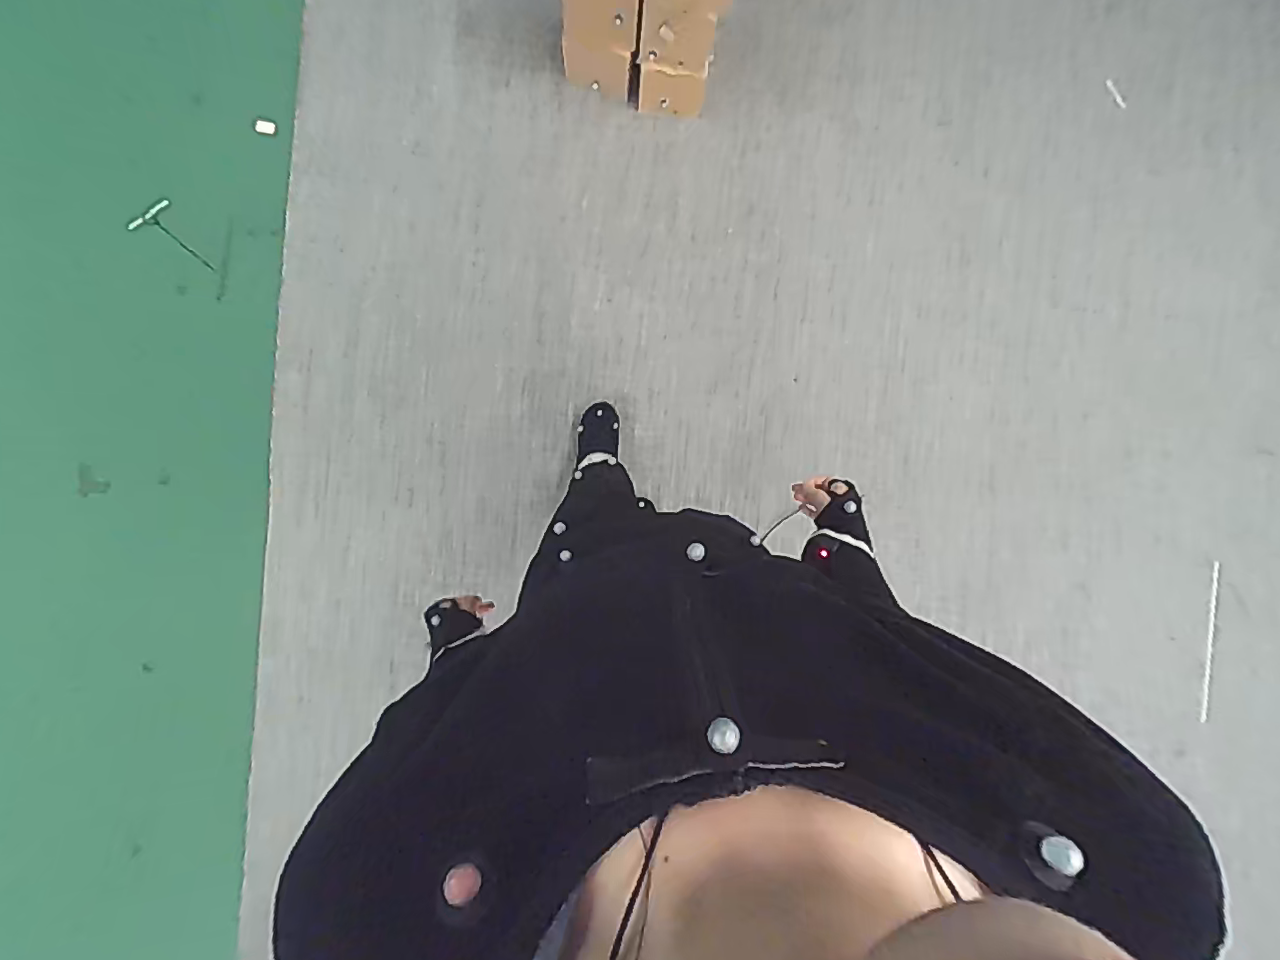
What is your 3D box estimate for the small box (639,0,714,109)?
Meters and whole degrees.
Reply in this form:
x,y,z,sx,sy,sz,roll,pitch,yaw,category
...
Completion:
x,y,z,sx,sy,sz,roll,pitch,yaw,category
0.089,-1.107,1.396,0.168,0.176,0.179,4,92,-3,small box
